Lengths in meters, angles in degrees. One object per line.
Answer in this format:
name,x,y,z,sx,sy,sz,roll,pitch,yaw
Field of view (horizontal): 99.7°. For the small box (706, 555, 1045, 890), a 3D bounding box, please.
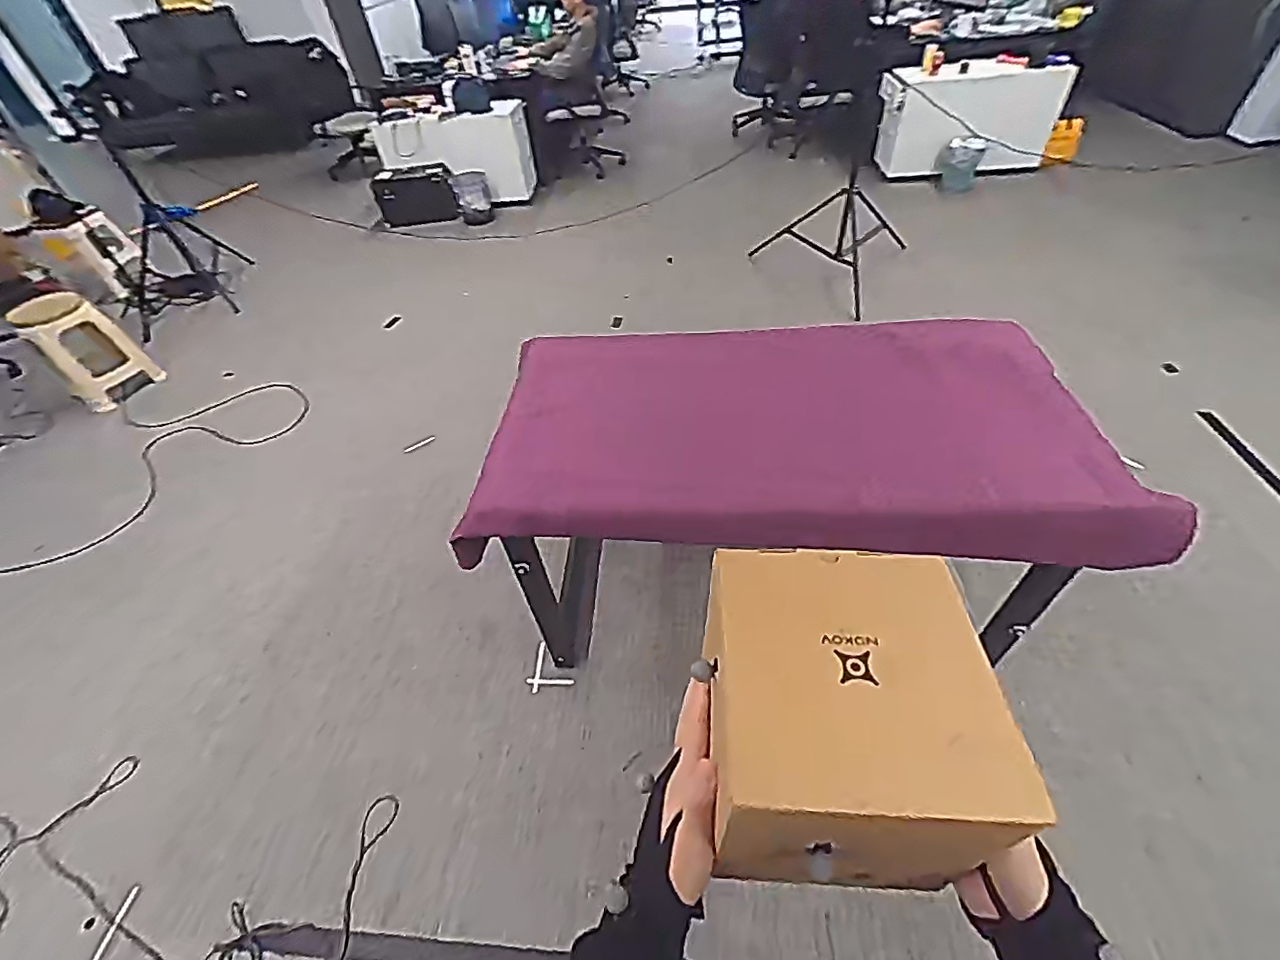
small box,0.137,0.177,0.397,0.168,0.176,0.179,2,42,3
